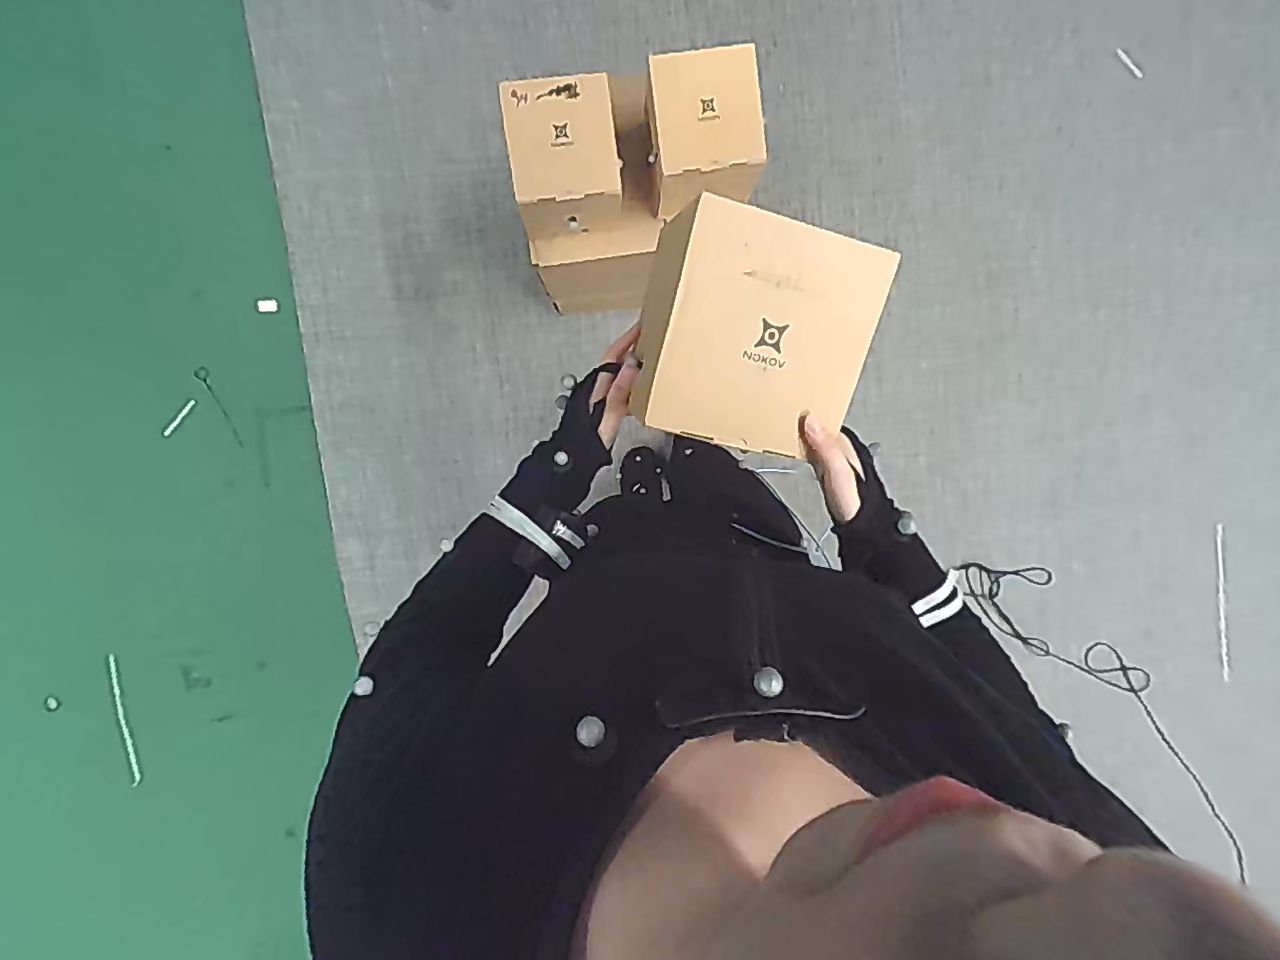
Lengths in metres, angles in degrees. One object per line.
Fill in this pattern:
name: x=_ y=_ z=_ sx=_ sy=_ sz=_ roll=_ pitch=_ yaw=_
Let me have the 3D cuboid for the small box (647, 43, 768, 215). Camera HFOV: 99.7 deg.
small box: x=0.104 y=-0.571 z=0.899 sx=0.168 sy=0.176 sz=0.179 roll=-8 pitch=96 yaw=-1

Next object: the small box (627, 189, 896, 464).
small box: x=0.089 y=-0.134 z=0.496 sx=0.168 sy=0.176 sz=0.179 roll=12 pitch=105 yaw=-11

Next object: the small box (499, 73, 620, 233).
small box: x=-0.123 y=-0.524 z=0.894 sx=0.168 sy=0.176 sz=0.179 roll=-8 pitch=97 yaw=-3
